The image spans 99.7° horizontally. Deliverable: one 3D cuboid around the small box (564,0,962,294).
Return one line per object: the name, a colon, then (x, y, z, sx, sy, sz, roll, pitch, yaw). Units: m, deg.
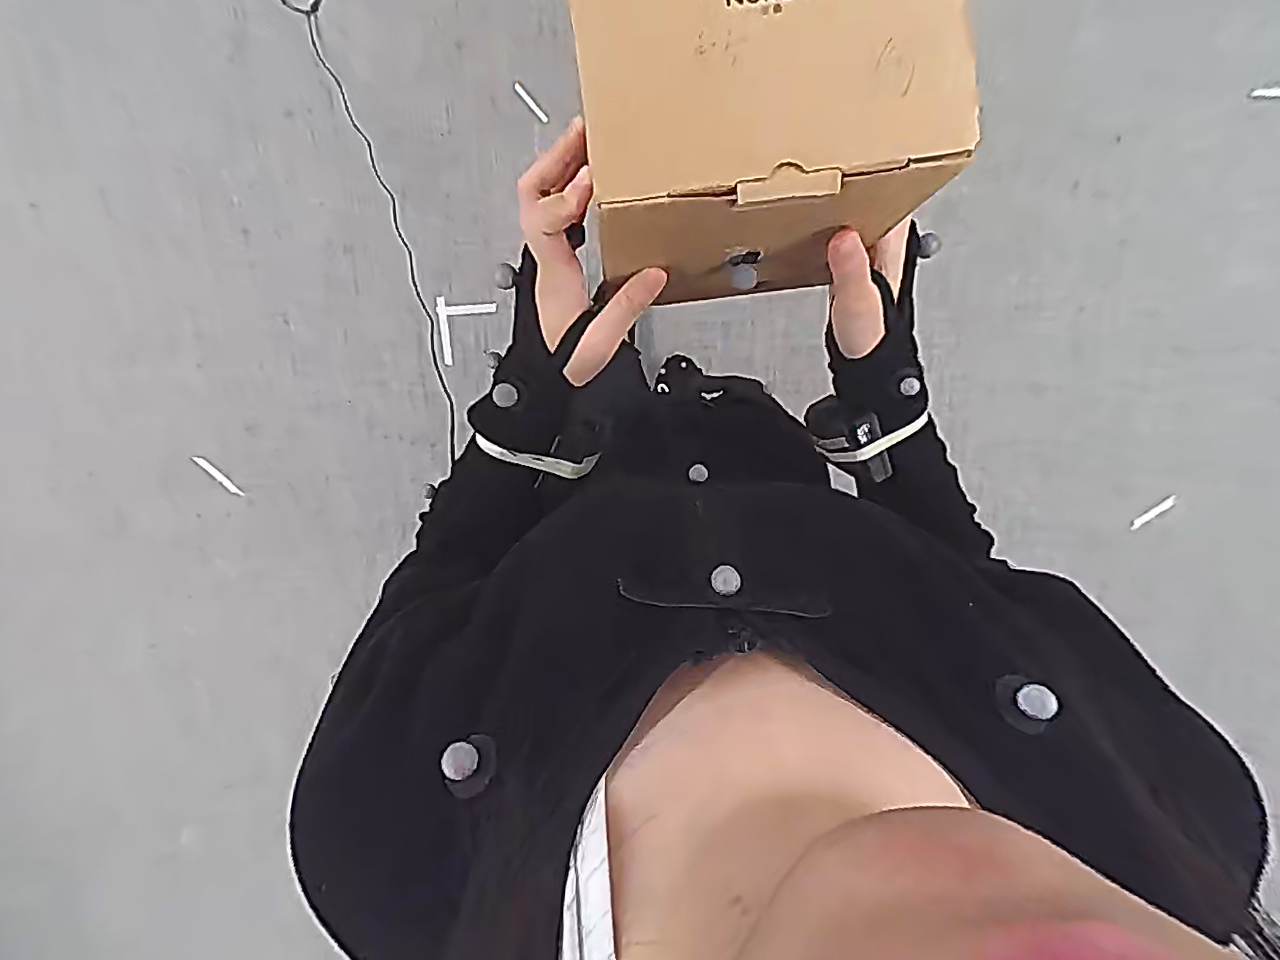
small box: (0.048, -0.217, 0.308, 0.168, 0.176, 0.179, -7, 93, -1)
